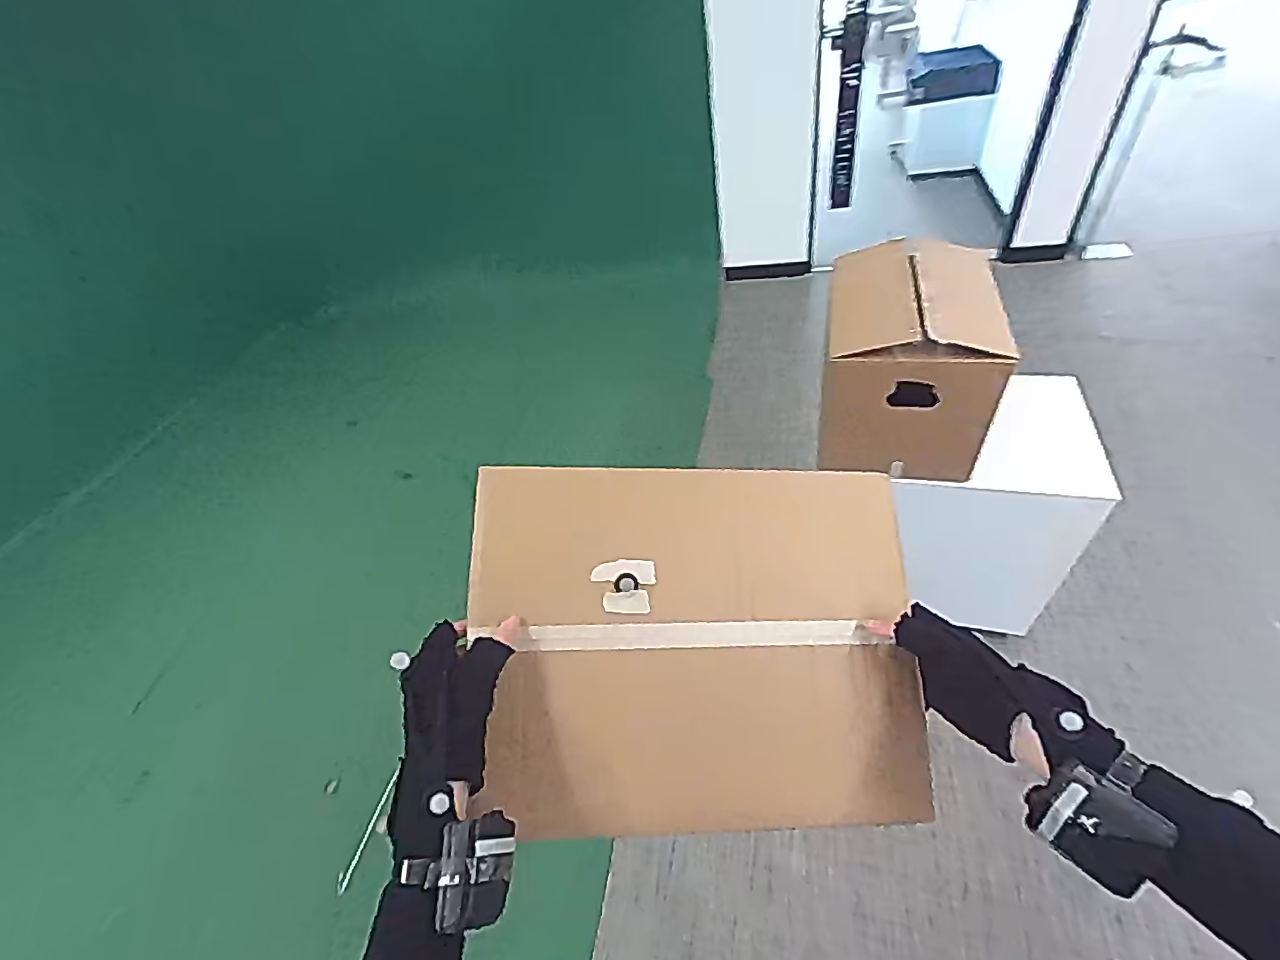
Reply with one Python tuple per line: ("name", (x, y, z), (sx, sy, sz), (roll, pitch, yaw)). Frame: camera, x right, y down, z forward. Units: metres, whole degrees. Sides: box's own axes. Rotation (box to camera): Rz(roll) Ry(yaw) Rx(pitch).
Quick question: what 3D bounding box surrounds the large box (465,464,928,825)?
("large box", (0.044, 0.170, 0.634), (0.408, 0.320, 0.320), (1, 75, -4))
